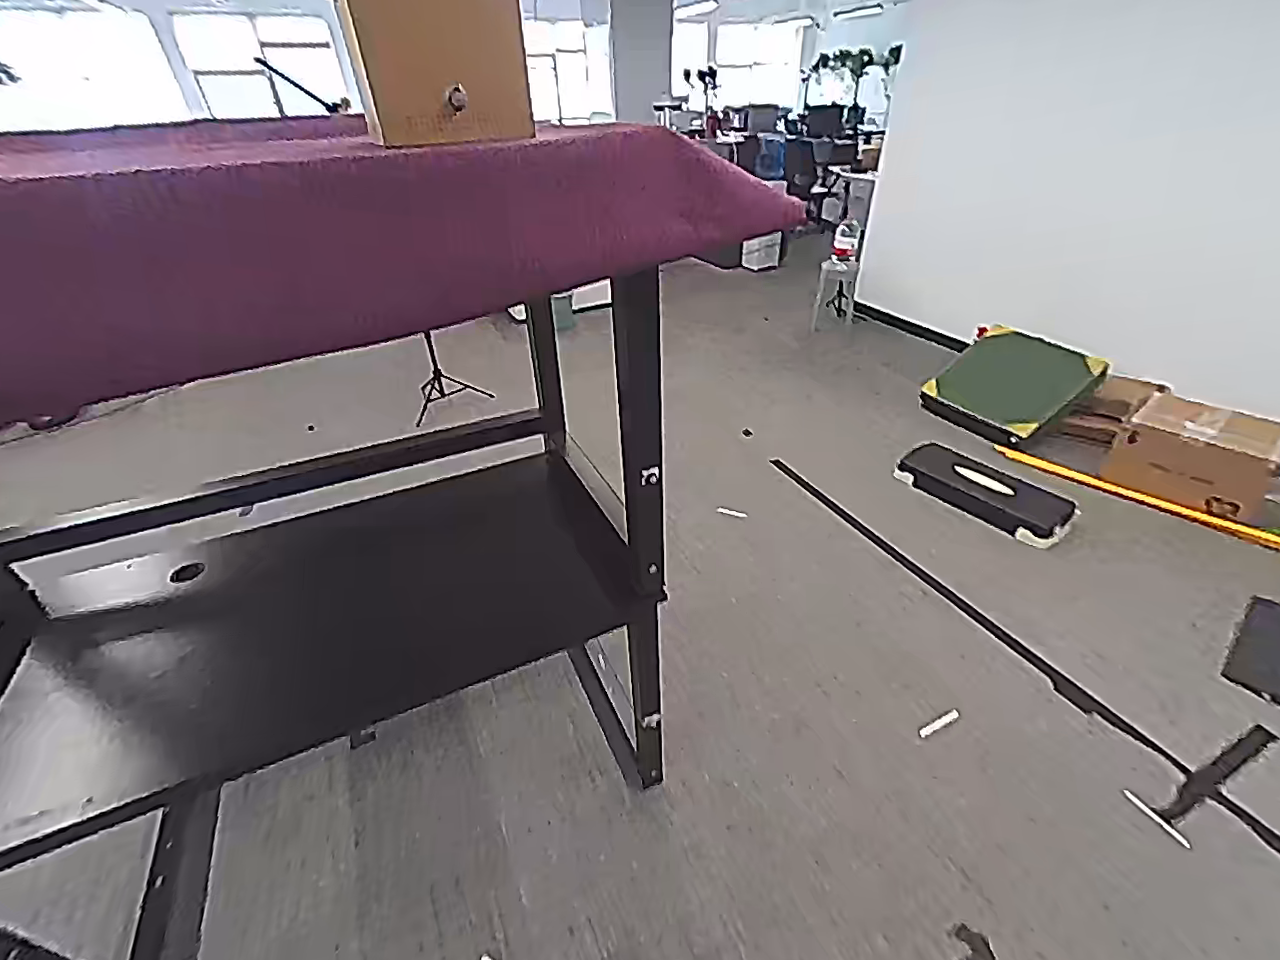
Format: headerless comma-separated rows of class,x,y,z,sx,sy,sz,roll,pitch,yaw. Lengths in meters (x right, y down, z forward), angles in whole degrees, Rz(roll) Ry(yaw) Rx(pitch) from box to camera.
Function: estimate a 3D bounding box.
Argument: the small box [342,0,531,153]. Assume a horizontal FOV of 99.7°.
small box,-0.235,-0.489,0.633,0.179,0.176,0.168,-17,37,-21
